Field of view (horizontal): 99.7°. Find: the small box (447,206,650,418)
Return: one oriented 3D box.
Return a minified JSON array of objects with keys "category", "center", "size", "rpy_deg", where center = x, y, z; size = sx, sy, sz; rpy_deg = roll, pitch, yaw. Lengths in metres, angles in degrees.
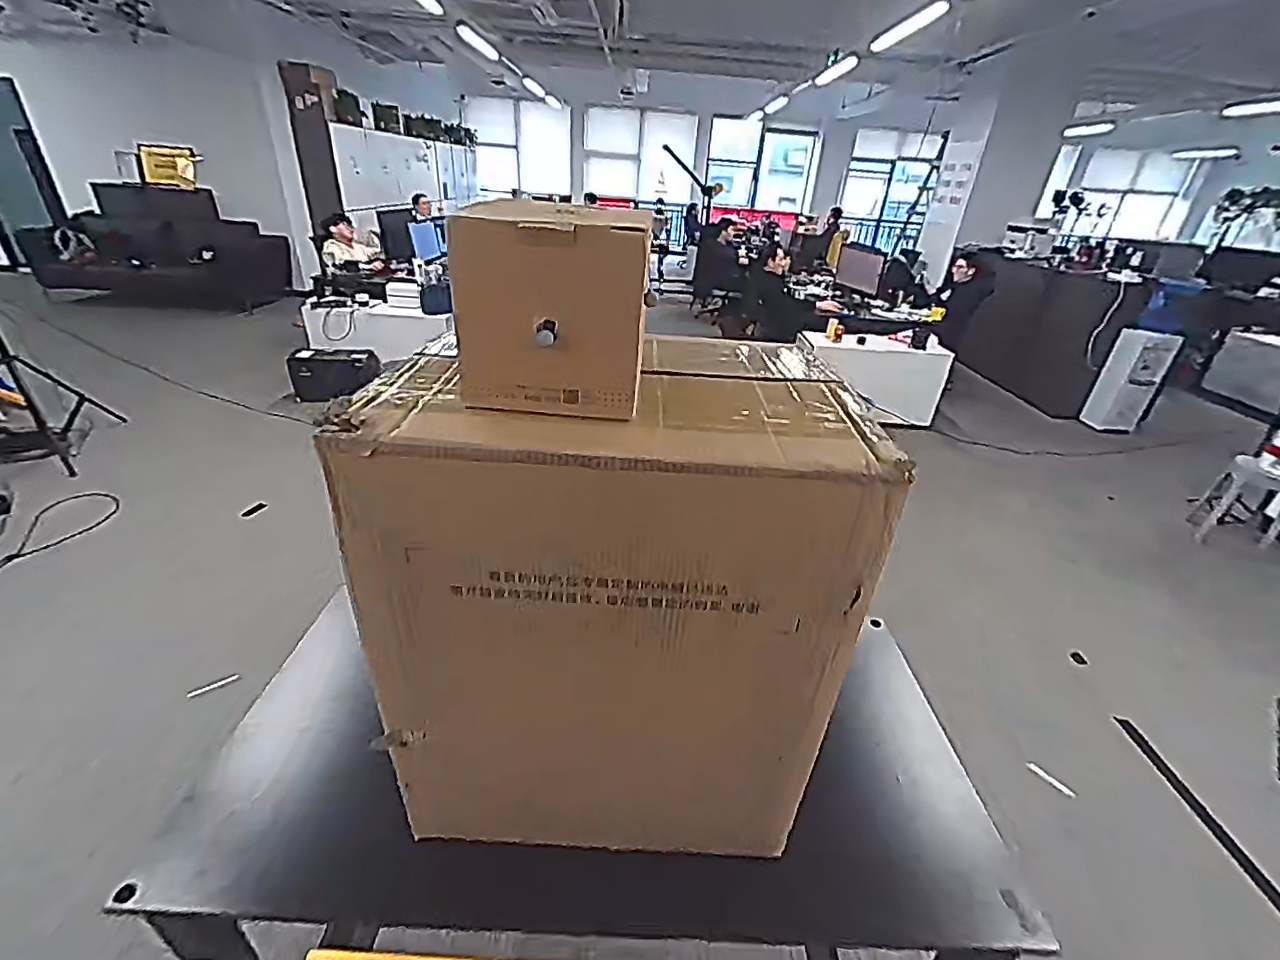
[{"category":"small box","center":[-0.078,-0.174,0.551],"size":[0.168,0.176,0.179],"rpy_deg":[5,32,-1]}]
